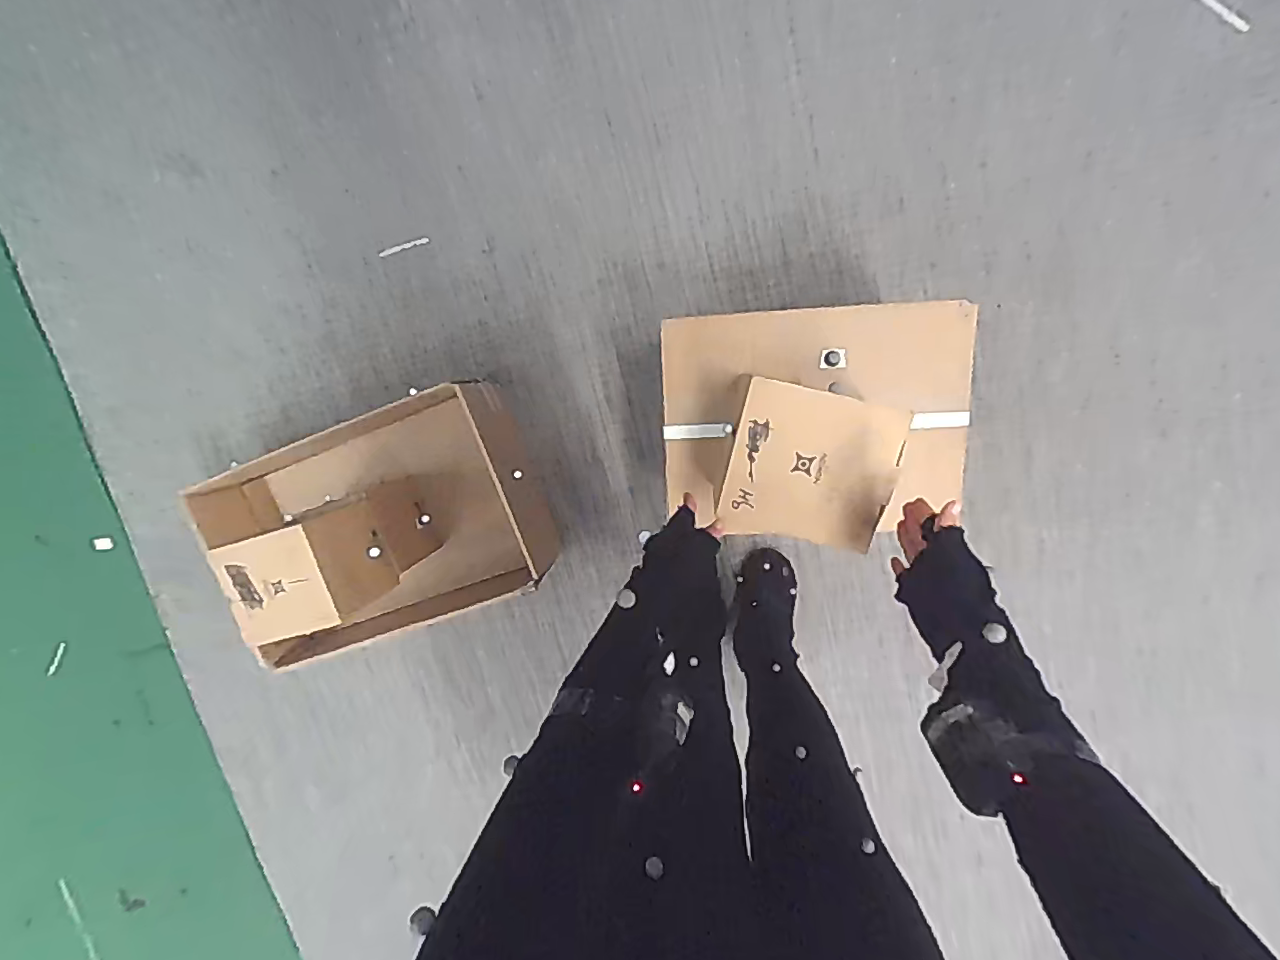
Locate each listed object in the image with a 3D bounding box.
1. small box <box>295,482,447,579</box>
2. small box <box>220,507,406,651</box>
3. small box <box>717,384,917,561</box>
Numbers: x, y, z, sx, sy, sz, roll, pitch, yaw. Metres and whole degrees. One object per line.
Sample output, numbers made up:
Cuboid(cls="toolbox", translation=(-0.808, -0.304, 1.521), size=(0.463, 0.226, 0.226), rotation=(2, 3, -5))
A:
Cuboid(cls="small box", translation=(-0.516, 0.116, 1.062), size=(0.179, 0.176, 0.168), rotation=(-19, 98, 9))
Cuboid(cls="small box", translation=(-0.532, 0.157, 0.903), size=(0.179, 0.176, 0.168), rotation=(-16, 98, 9))
Cuboid(cls="small box", translation=(0.200, -0.022, 0.669), size=(0.179, 0.176, 0.168), rotation=(14, 102, 4))
